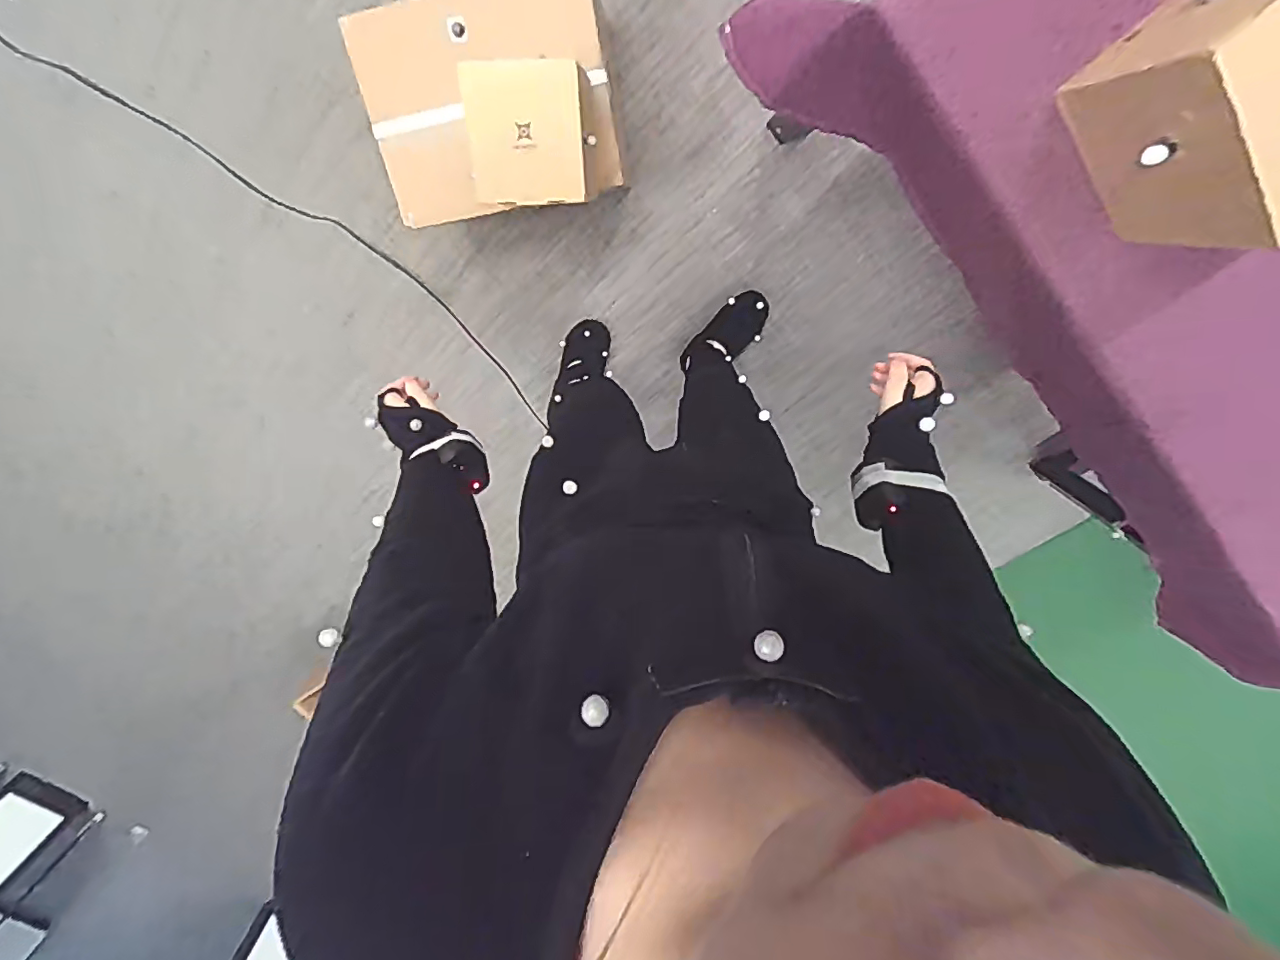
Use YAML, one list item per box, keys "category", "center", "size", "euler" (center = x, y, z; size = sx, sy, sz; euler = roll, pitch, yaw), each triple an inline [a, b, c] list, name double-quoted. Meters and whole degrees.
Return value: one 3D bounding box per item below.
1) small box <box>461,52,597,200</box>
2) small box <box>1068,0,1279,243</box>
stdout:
- category: "small box"
  center: [-0.158, -0.537, 0.834]
  size: [0.168, 0.176, 0.179]
  euler: [0, 122, 2]
- category: "small box"
  center: [0.512, -0.323, 0.447]
  size: [0.168, 0.176, 0.179]
  euler: [-38, 109, 20]
